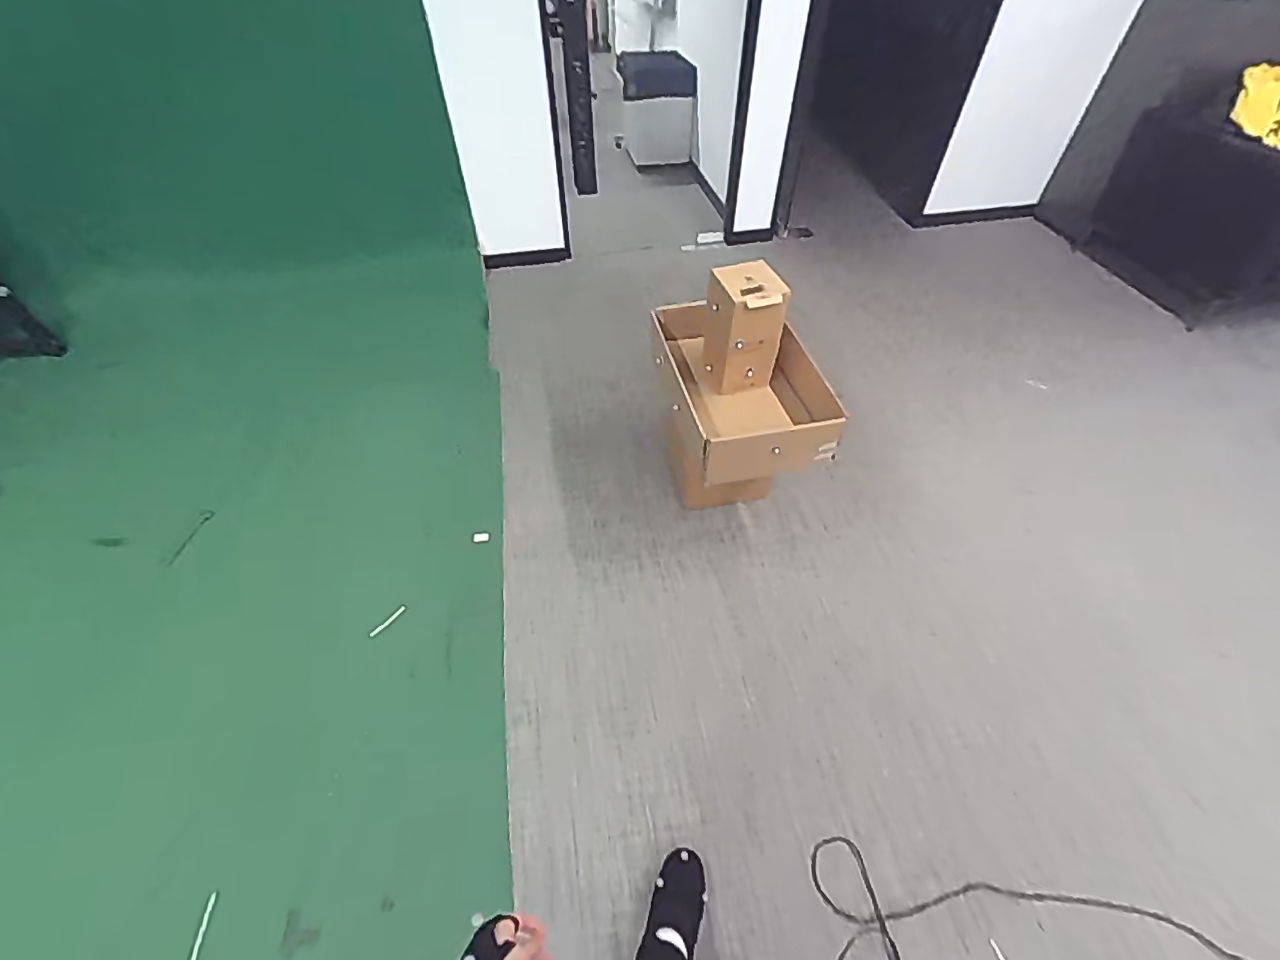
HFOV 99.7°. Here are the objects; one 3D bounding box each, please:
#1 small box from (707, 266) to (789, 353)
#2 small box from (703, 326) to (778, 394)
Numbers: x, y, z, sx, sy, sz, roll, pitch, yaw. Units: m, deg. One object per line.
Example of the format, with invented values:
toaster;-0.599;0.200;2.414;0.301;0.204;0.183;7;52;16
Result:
small box;0.300;-0.478;1.537;0.168;0.176;0.179;-13;52;-11
small box;0.304;-0.382;1.670;0.168;0.176;0.179;-11;54;-11
